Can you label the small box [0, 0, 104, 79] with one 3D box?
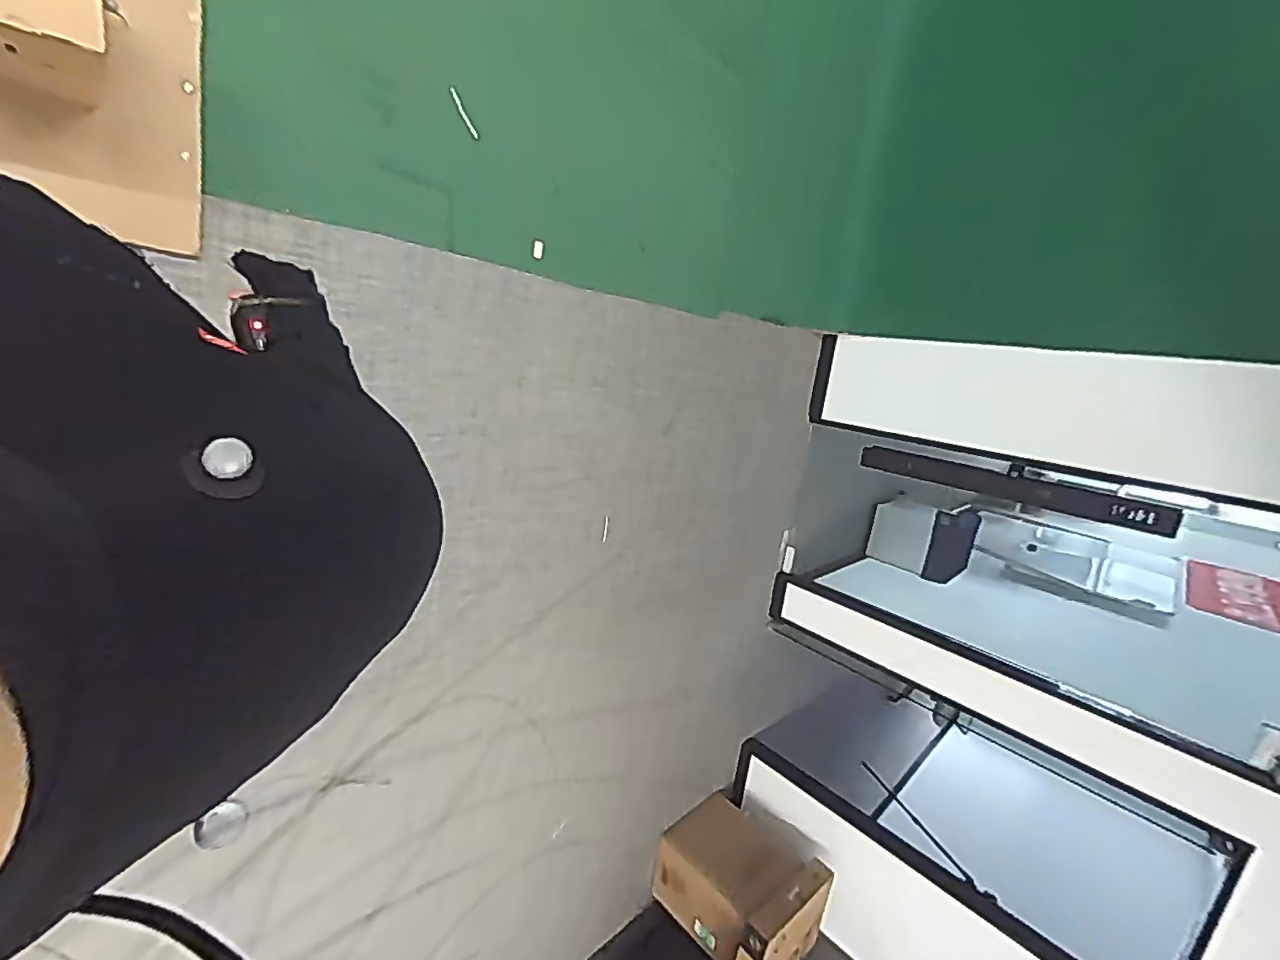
[{"bbox_3d":[-0.834,-0.679,0.714,0.168,0.176,0.179,-6,109,-44],"label":"small box"}]
